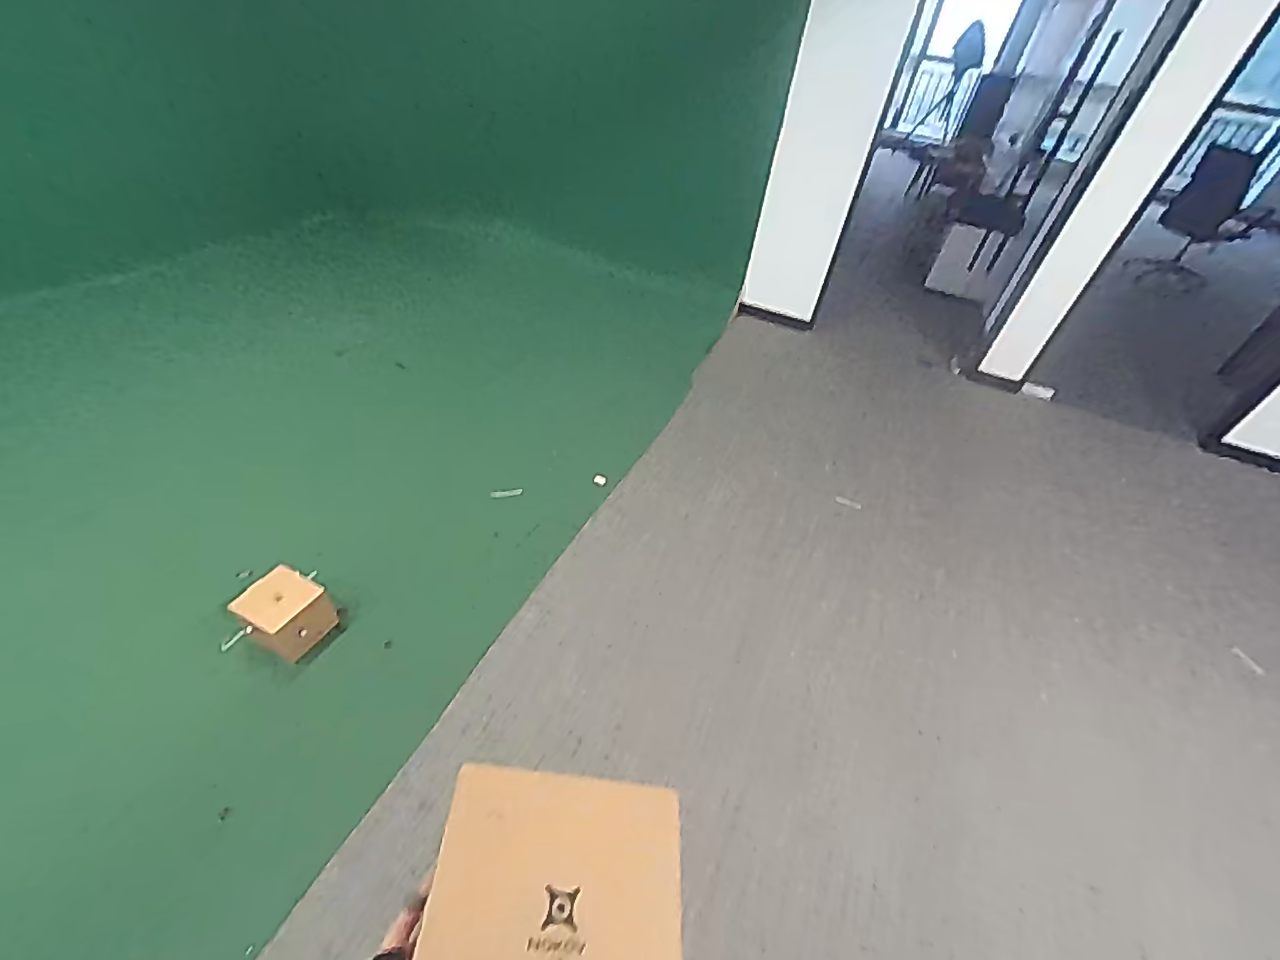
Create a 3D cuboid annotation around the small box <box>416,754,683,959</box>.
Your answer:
[{"bbox_3d":[-0.072,0.333,0.399,0.168,0.176,0.179,13,43,-9],"label":"small box"}]

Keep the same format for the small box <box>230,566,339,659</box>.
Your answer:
[{"bbox_3d":[-1.006,0.385,1.547,0.179,0.176,0.168,22,45,16],"label":"small box"}]
